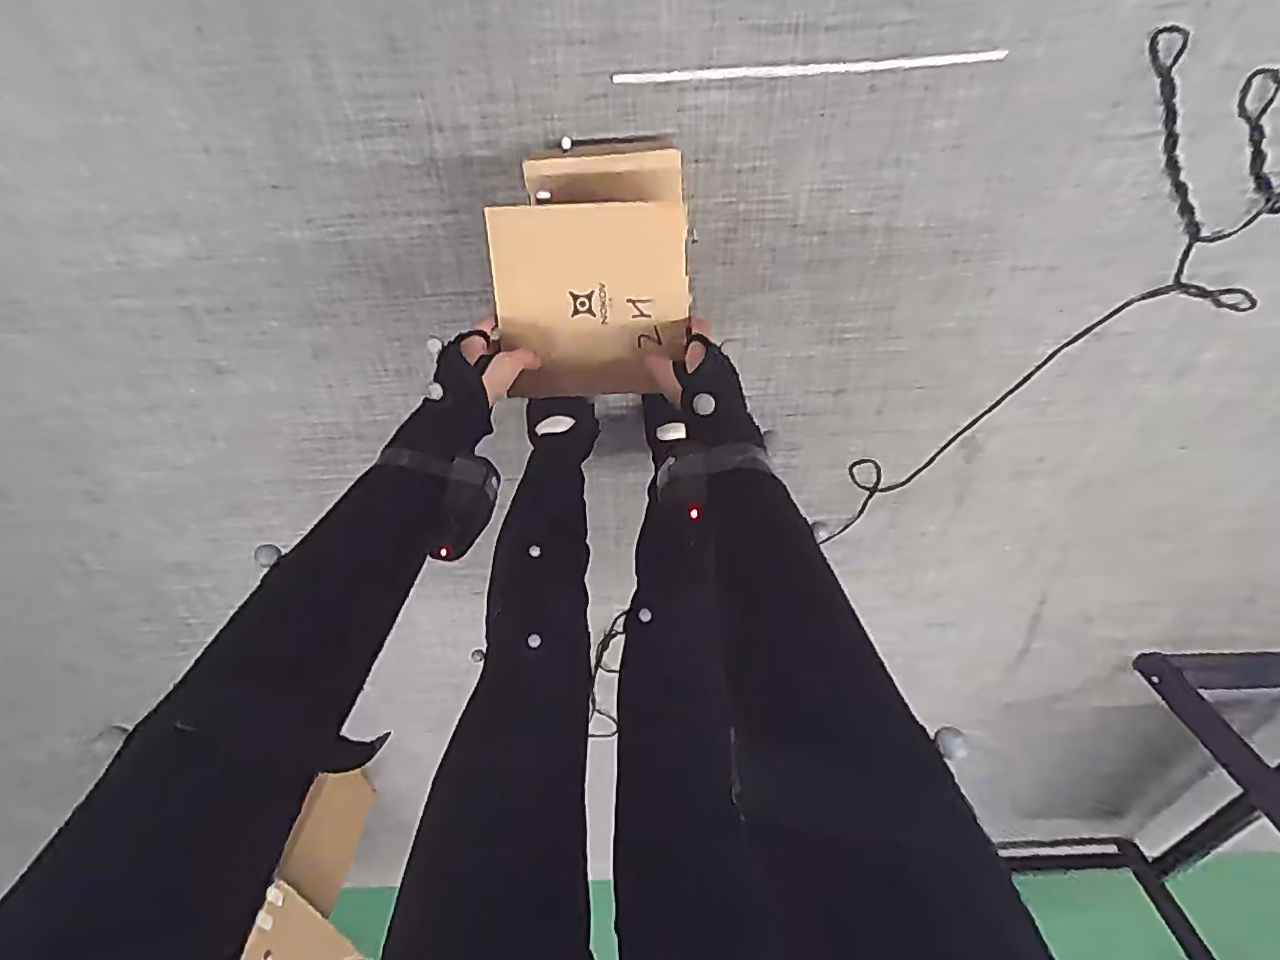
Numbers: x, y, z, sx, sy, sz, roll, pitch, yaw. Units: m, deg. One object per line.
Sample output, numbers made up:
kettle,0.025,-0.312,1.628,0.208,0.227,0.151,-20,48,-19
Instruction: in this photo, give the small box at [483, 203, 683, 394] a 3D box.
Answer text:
small box,-0.049,-0.183,0.566,0.179,0.176,0.168,-2,108,-1

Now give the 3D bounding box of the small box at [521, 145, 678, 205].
small box,-0.041,-0.331,0.702,0.179,0.176,0.168,-4,125,1
